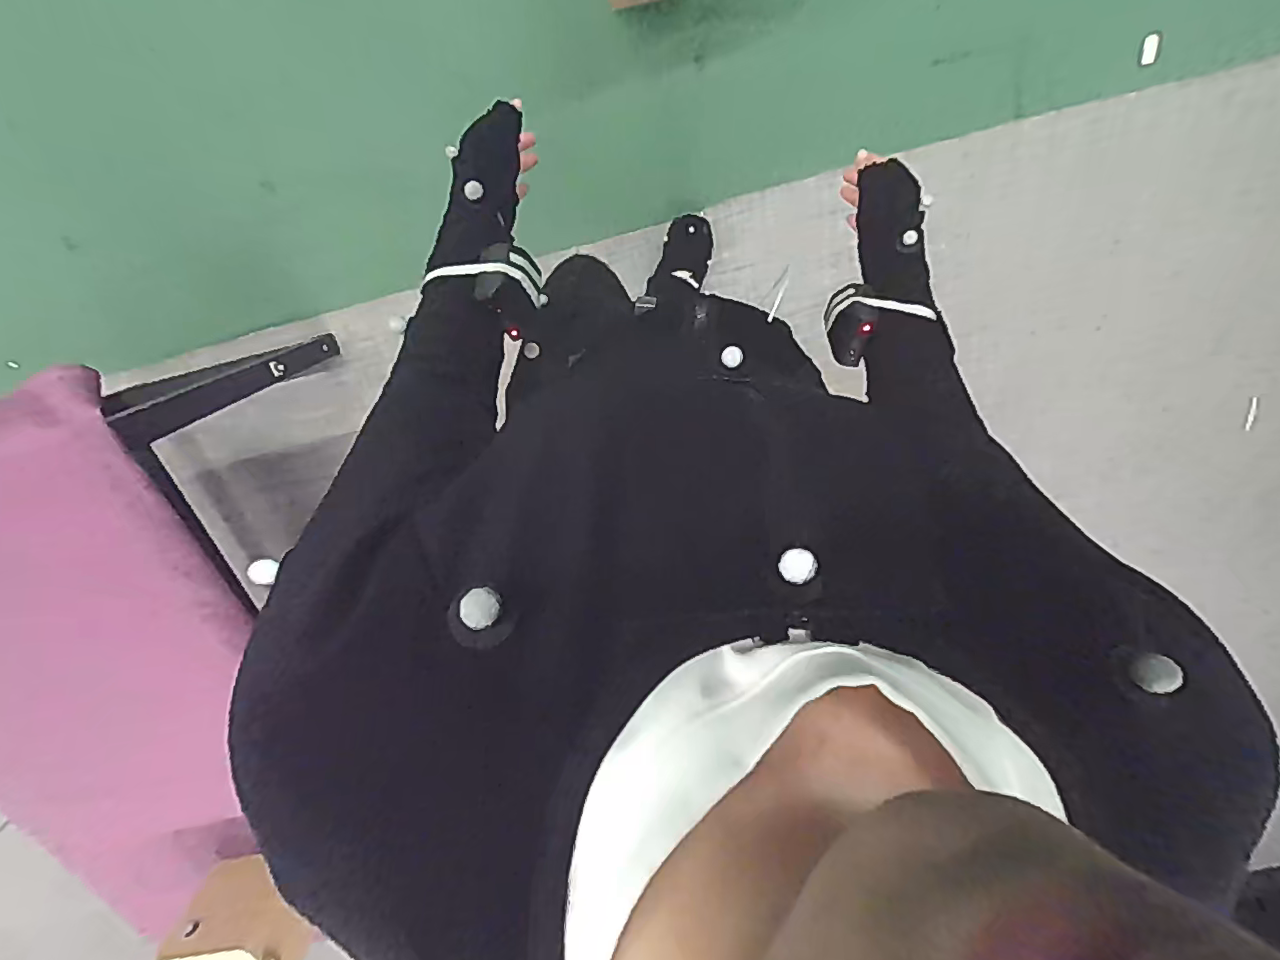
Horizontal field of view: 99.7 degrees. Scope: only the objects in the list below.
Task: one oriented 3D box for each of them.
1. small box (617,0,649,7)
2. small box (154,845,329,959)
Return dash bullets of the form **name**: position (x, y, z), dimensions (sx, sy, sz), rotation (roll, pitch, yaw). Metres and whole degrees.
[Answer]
- **small box**: position (0.014, -1.017, 0.985), dimensions (0.168, 0.176, 0.179), rotation (-10, 116, 3)
- **small box**: position (-0.747, 0.841, 1.035), dimensions (0.179, 0.176, 0.168), rotation (-11, 115, 4)
